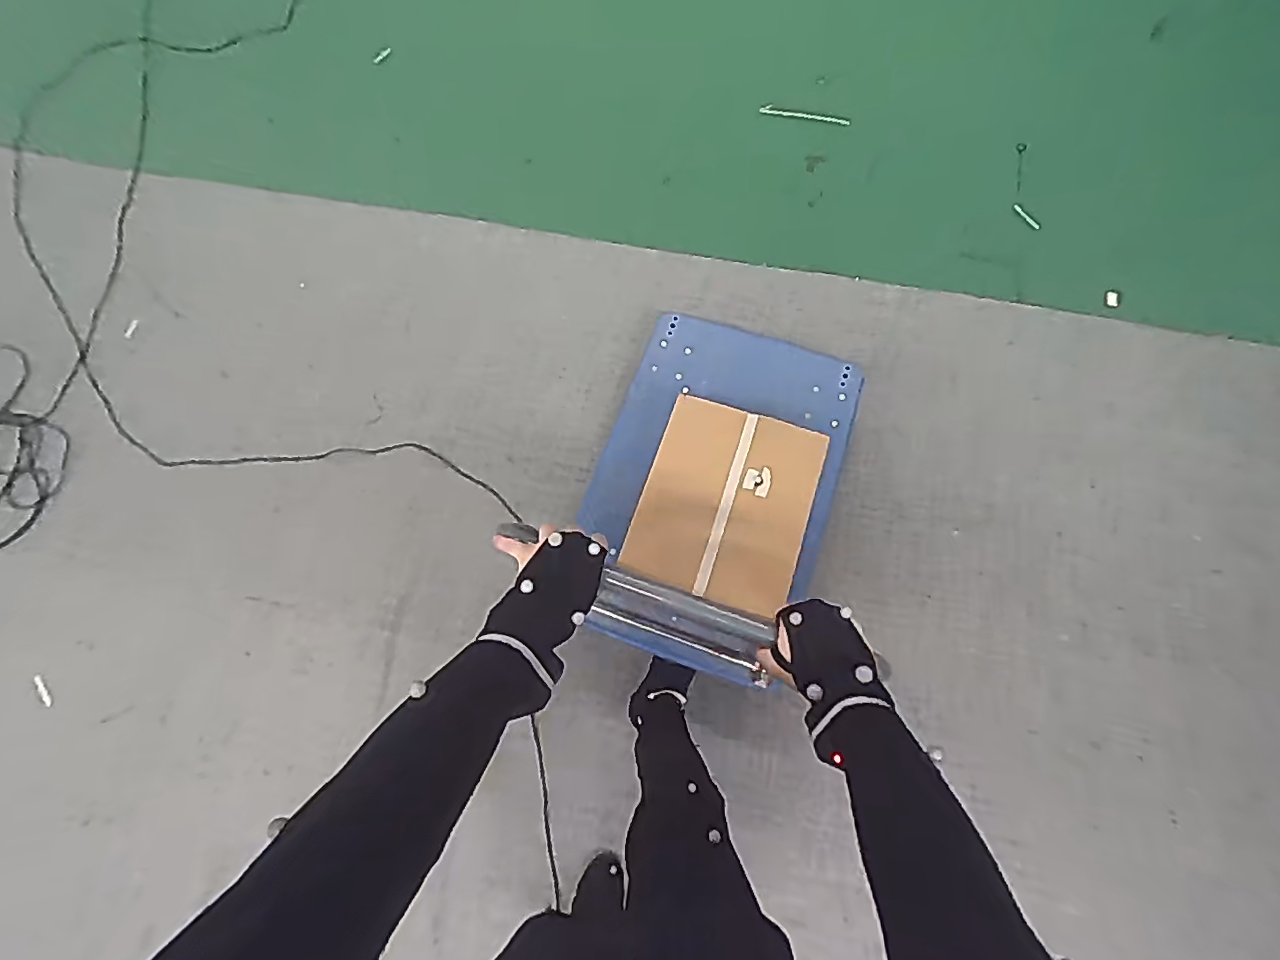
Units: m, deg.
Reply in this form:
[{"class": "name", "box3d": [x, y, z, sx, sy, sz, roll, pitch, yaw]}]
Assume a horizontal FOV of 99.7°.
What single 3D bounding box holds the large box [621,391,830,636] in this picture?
[{"class": "large box", "box3d": [0.174, 0.089, 1.161, 0.320, 0.320, 0.408, 18, 73, 7]}]
